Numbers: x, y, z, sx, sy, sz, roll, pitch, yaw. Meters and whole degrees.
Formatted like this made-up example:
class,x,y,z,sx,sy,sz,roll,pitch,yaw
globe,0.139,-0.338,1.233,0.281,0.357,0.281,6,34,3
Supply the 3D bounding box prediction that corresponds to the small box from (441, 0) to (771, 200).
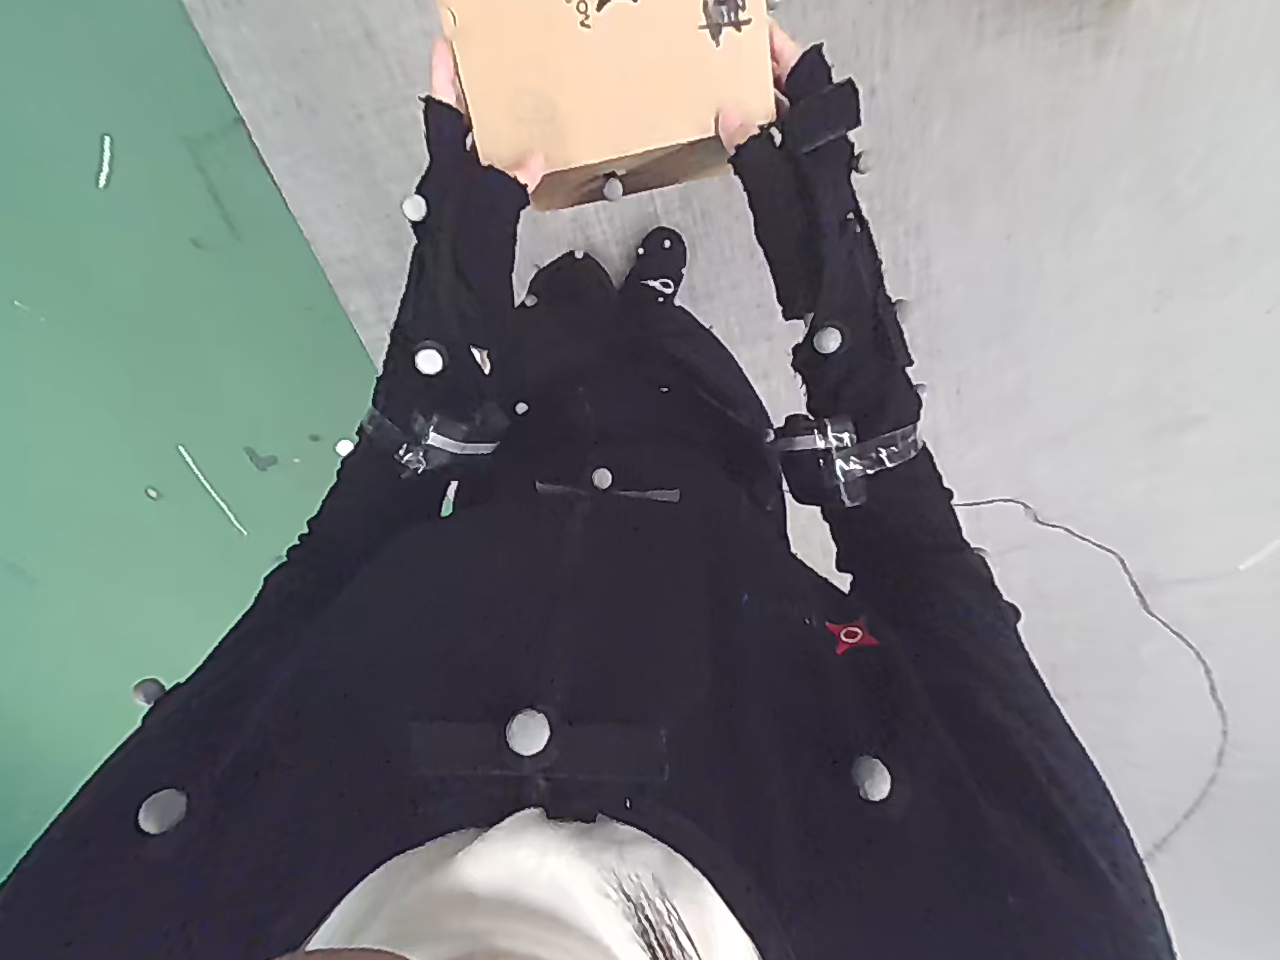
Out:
class,x,y,z,sx,sy,sz,roll,pitch,yaw
small box,-0.023,-0.307,0.367,0.179,0.176,0.168,-12,109,6
